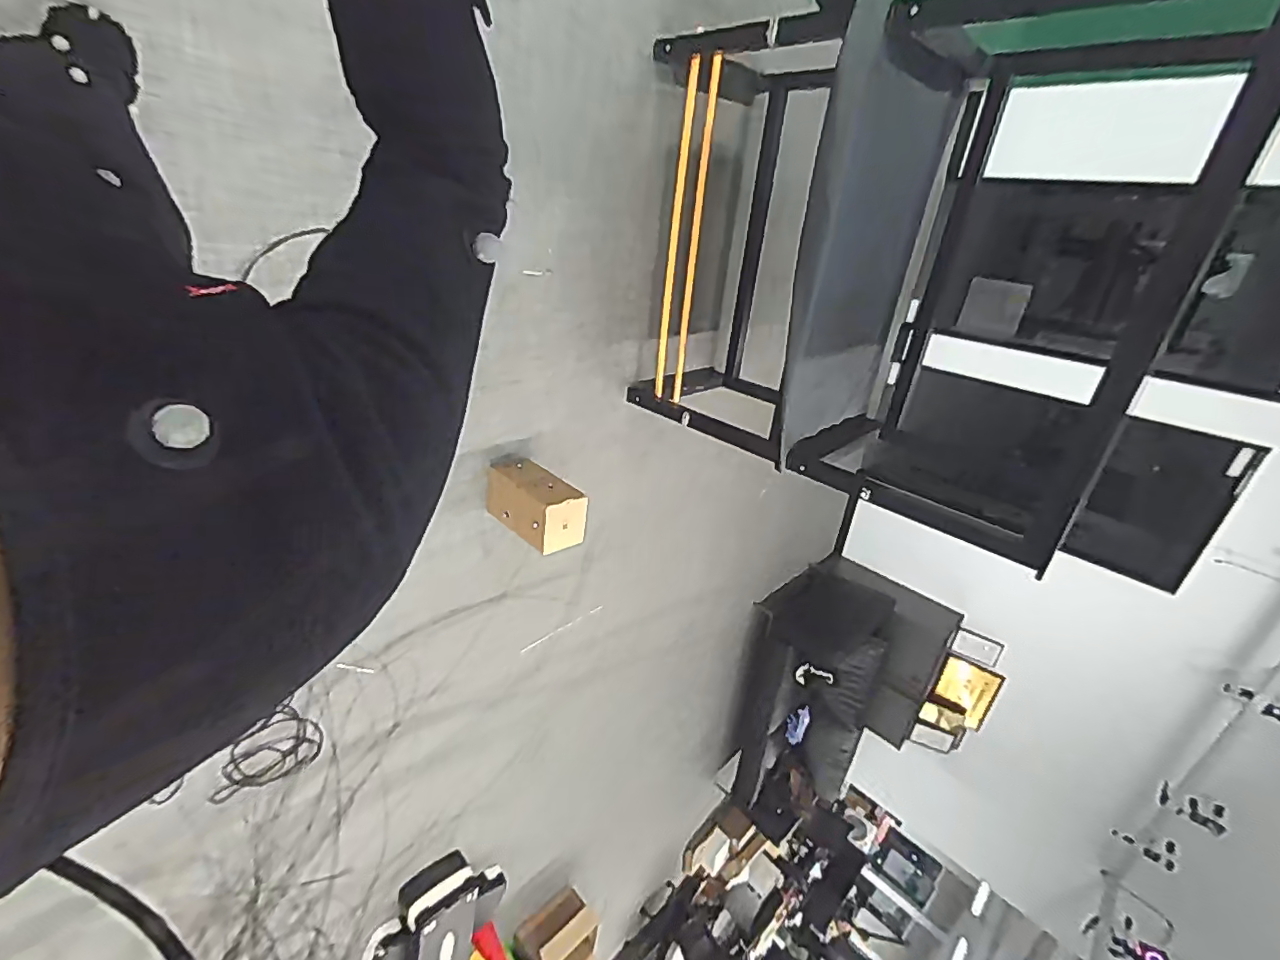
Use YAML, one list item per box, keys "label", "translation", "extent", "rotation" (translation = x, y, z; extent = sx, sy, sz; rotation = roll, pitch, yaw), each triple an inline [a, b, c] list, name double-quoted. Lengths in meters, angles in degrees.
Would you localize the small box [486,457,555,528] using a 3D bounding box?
- label: "small box"
  translation: [-0.418, 0.039, 1.869]
  extent: [0.168, 0.176, 0.179]
  rotation: [-14, 123, -45]
